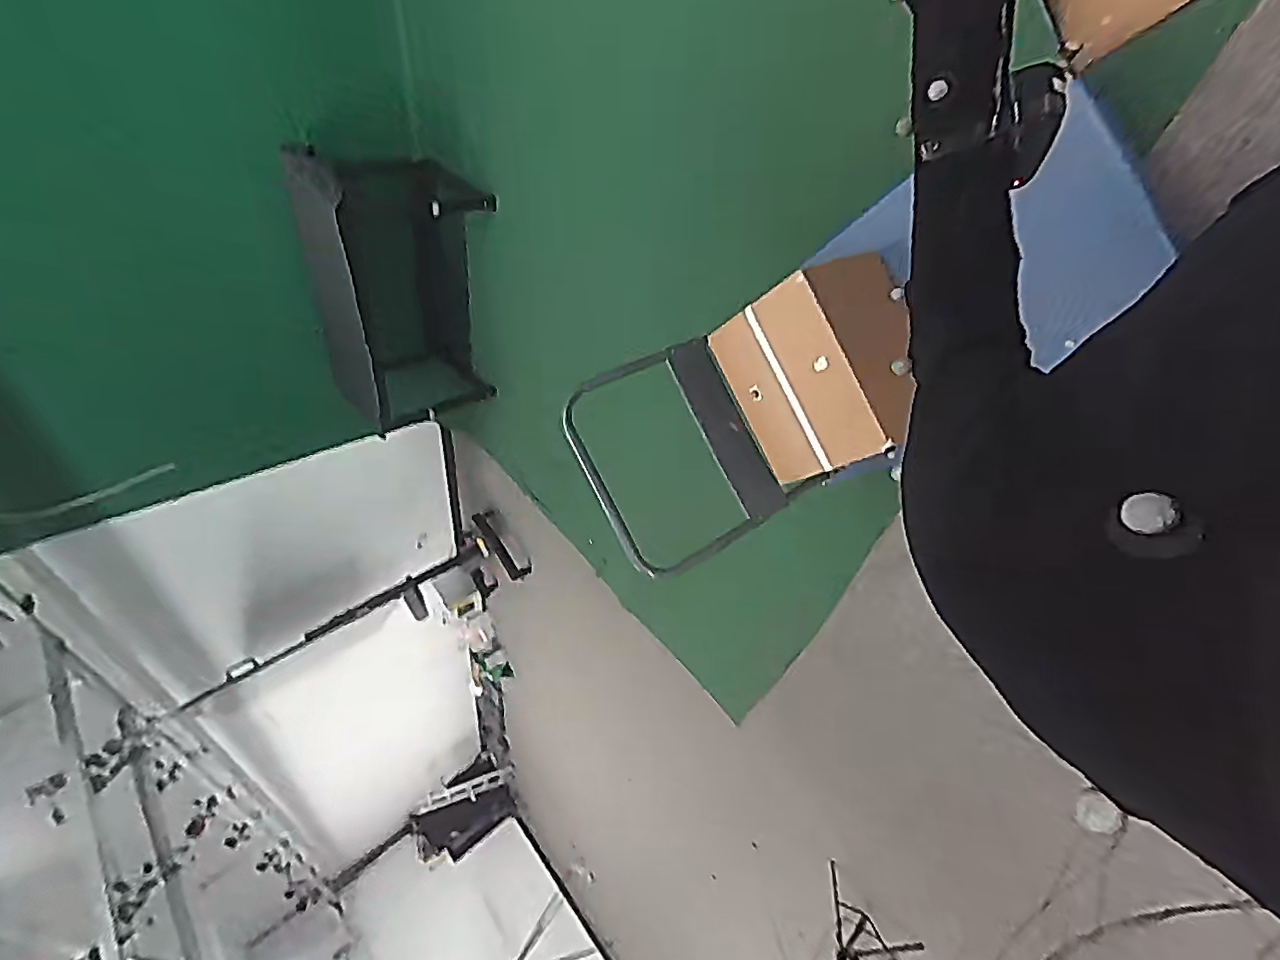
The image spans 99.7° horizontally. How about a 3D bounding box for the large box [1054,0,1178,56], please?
[{"bbox_3d":[0.443,-0.546,0.276,0.408,0.320,0.320,-15,110,57],"label":"large box"}]
